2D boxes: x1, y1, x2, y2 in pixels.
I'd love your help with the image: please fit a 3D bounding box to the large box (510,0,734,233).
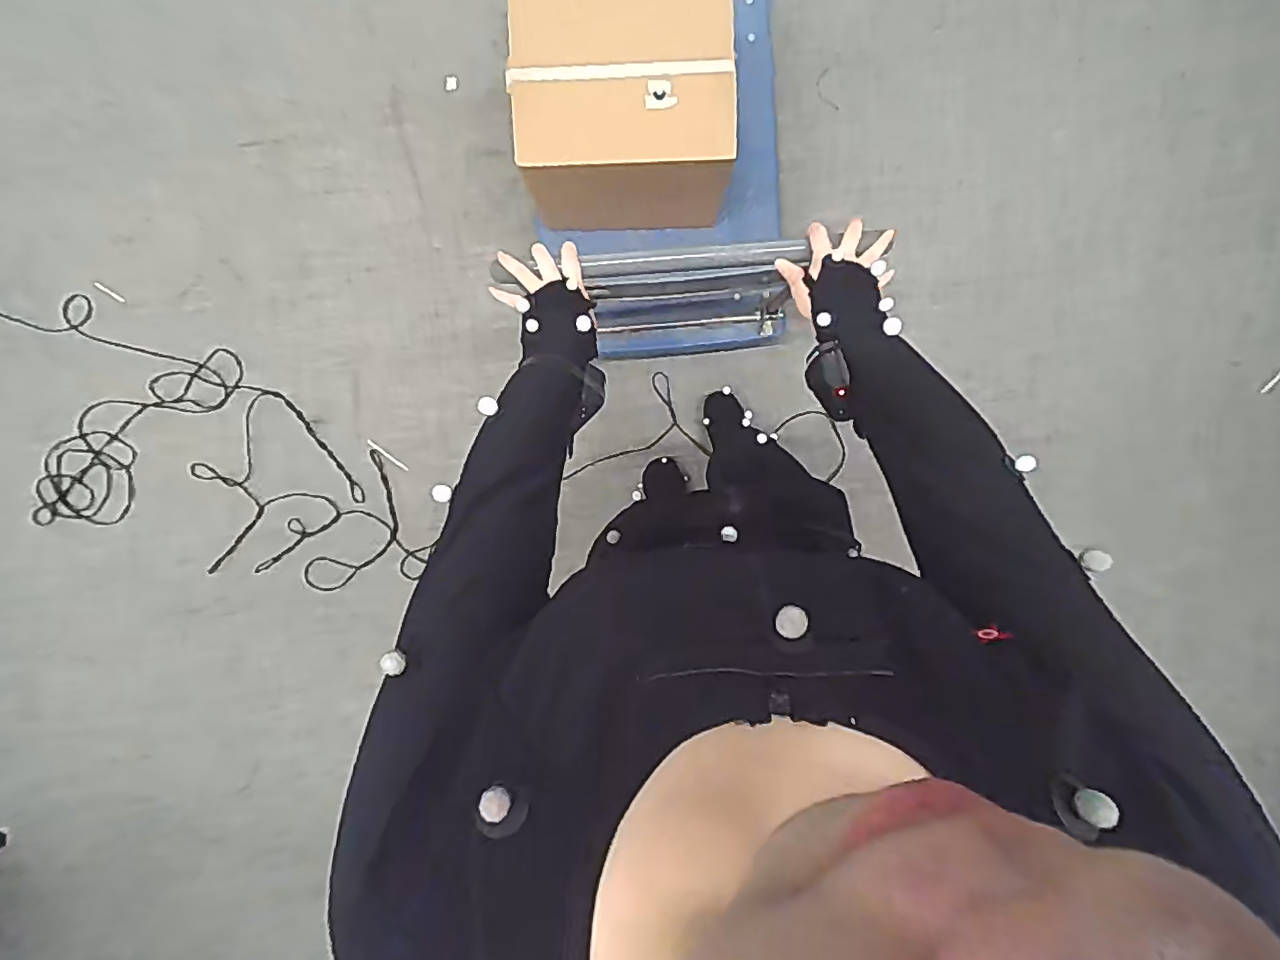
[{"bbox_3d":[-0.034,-0.743,1.138,0.408,0.320,0.320,-2,94,0],"label":"large box"}]
